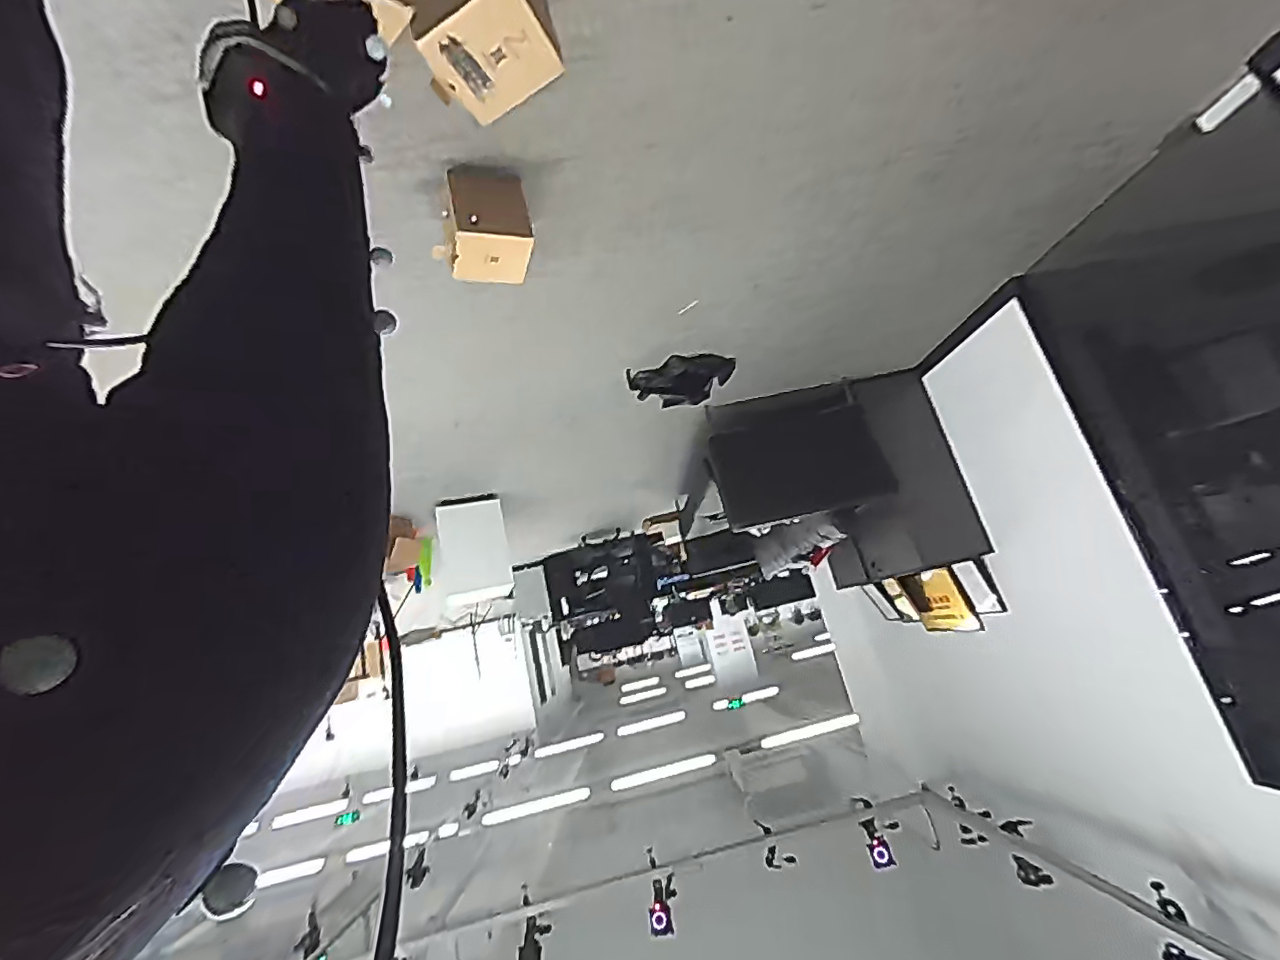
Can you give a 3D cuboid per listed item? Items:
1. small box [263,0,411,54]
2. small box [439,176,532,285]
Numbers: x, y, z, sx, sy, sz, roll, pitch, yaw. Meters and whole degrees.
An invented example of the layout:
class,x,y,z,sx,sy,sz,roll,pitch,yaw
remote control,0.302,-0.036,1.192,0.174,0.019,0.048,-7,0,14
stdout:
class,x,y,z,sx,sy,sz,roll,pitch,yaw
small box,-0.296,-0.532,0.487,0.168,0.179,0.176,4,-161,-37
small box,-0.372,-0.591,1.291,0.179,0.176,0.168,-6,164,-25
